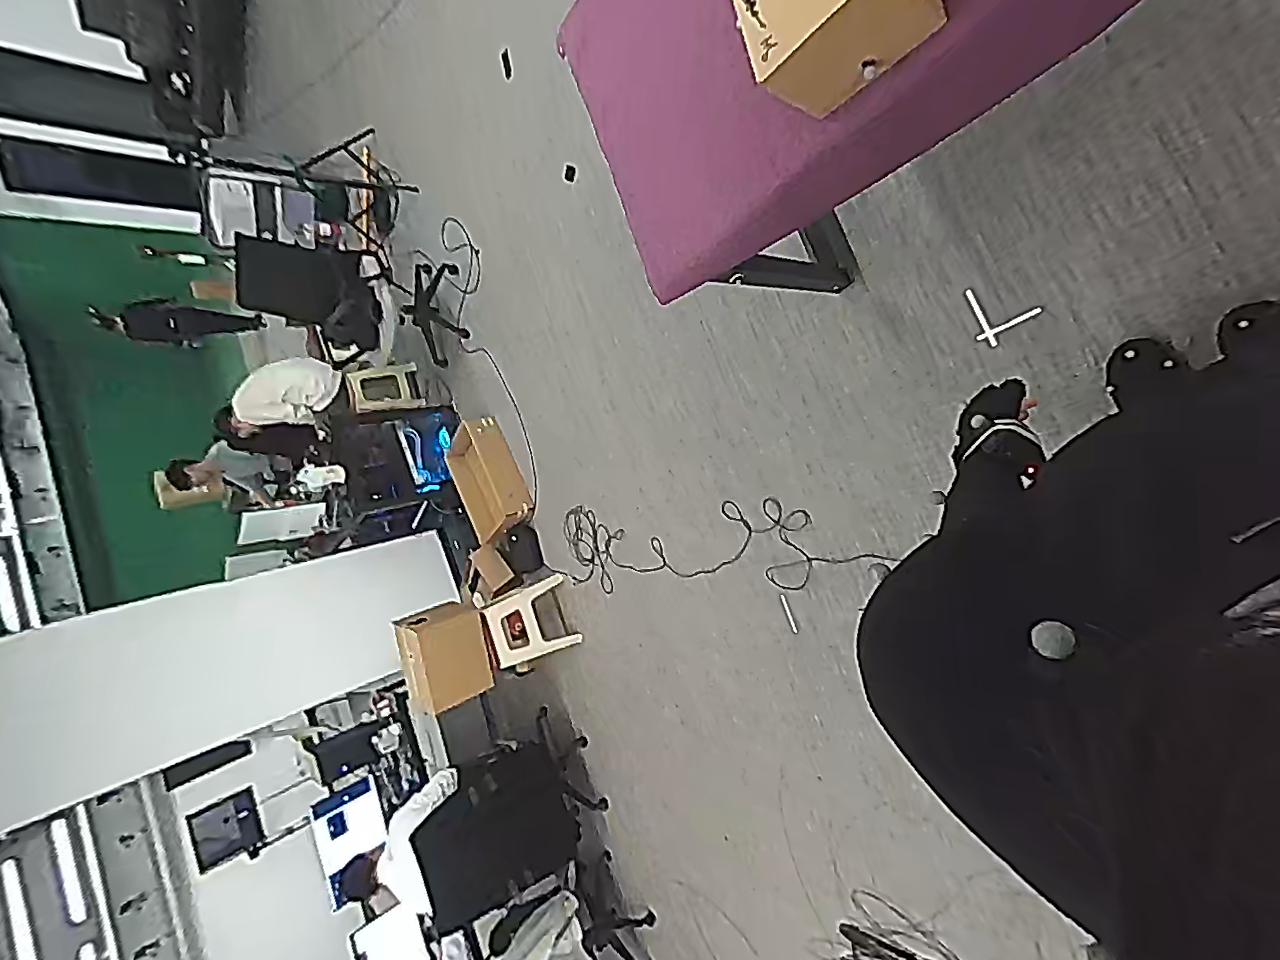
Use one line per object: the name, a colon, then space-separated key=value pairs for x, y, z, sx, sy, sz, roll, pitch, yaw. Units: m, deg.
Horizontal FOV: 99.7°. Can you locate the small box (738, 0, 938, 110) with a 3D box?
small box: x=0.242 y=-0.608 z=0.665 sx=0.179 sy=0.176 sz=0.168 roll=-18 pitch=87 yaw=48
